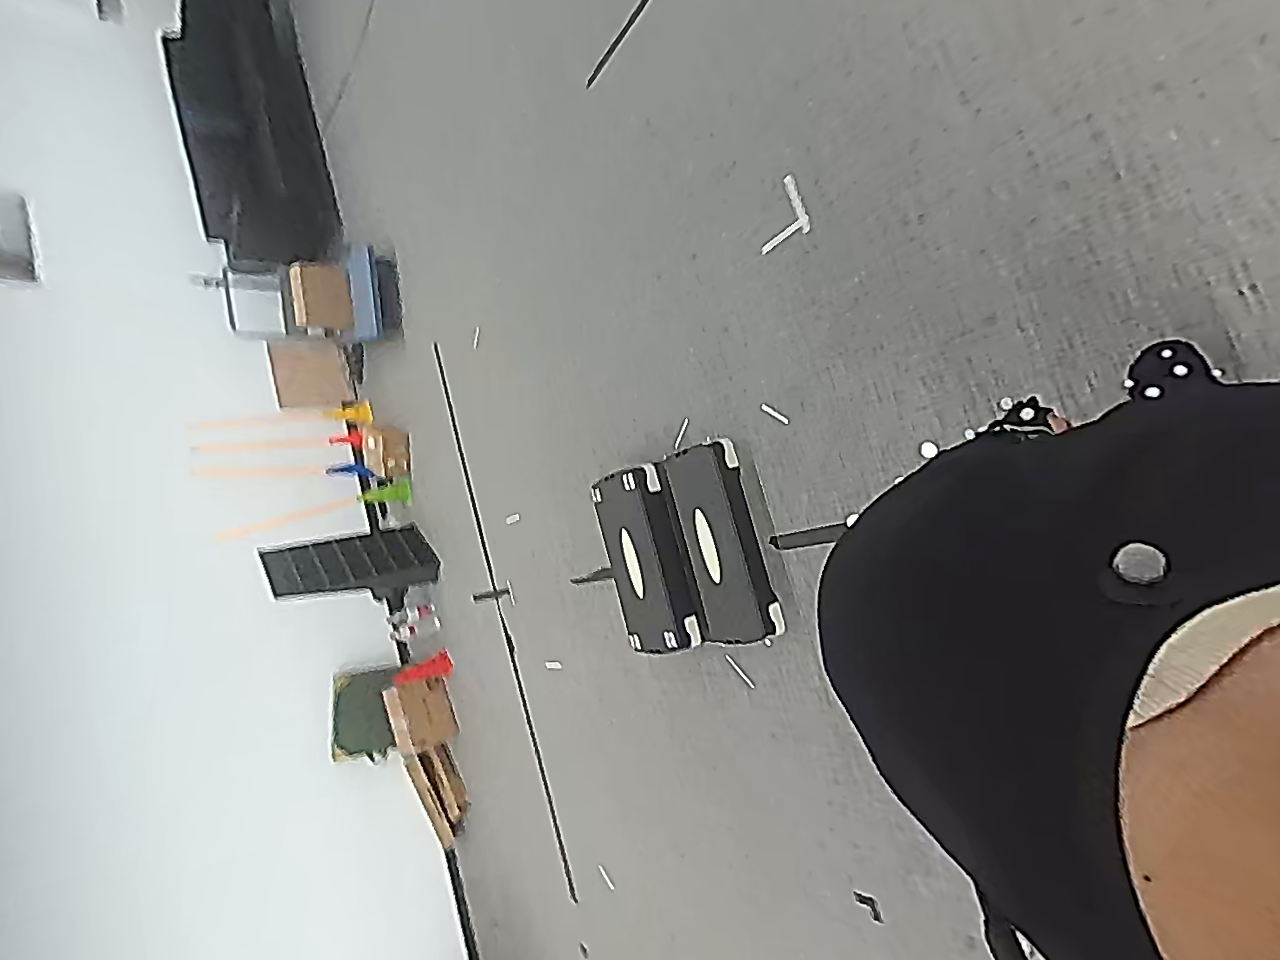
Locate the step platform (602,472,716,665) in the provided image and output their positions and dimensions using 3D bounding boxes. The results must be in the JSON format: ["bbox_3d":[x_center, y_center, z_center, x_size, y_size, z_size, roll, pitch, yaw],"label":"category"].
[{"bbox_3d":[0.059,0.319,1.982,0.286,0.204,0.684,-14,84,48],"label":"step platform"}]
